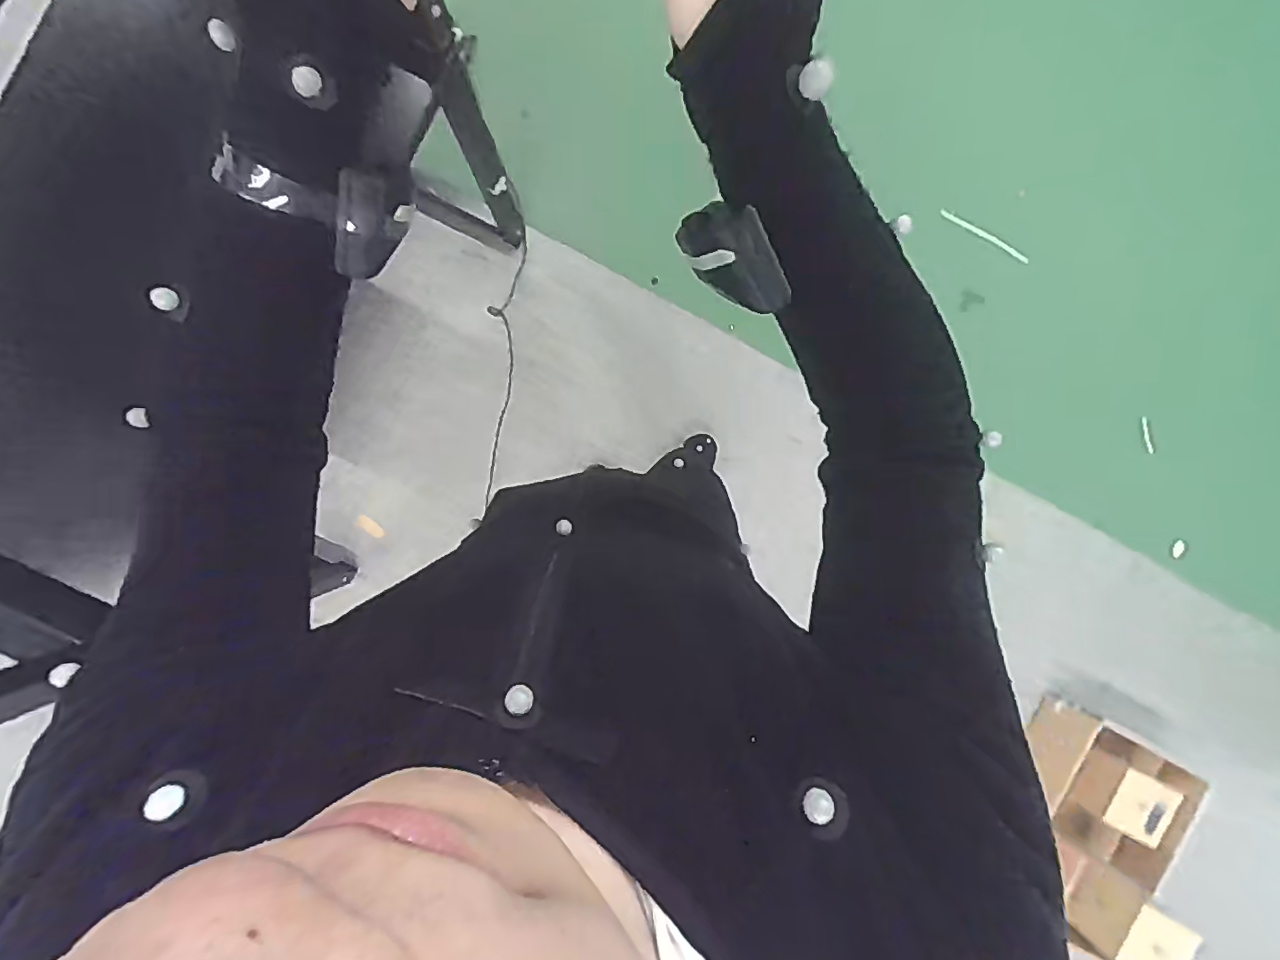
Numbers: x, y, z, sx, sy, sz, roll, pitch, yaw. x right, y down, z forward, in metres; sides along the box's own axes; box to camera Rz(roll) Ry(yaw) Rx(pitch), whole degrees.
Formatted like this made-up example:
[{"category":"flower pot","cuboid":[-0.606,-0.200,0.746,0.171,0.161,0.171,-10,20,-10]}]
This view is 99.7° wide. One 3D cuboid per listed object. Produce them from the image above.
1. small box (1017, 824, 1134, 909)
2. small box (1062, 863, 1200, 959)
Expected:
[{"category":"small box","cuboid":[1.255,1.149,1.573,0.179,0.176,0.168,30,88,-2]},{"category":"small box","cuboid":[1.265,1.151,1.408,0.179,0.176,0.168,30,89,-2]}]
